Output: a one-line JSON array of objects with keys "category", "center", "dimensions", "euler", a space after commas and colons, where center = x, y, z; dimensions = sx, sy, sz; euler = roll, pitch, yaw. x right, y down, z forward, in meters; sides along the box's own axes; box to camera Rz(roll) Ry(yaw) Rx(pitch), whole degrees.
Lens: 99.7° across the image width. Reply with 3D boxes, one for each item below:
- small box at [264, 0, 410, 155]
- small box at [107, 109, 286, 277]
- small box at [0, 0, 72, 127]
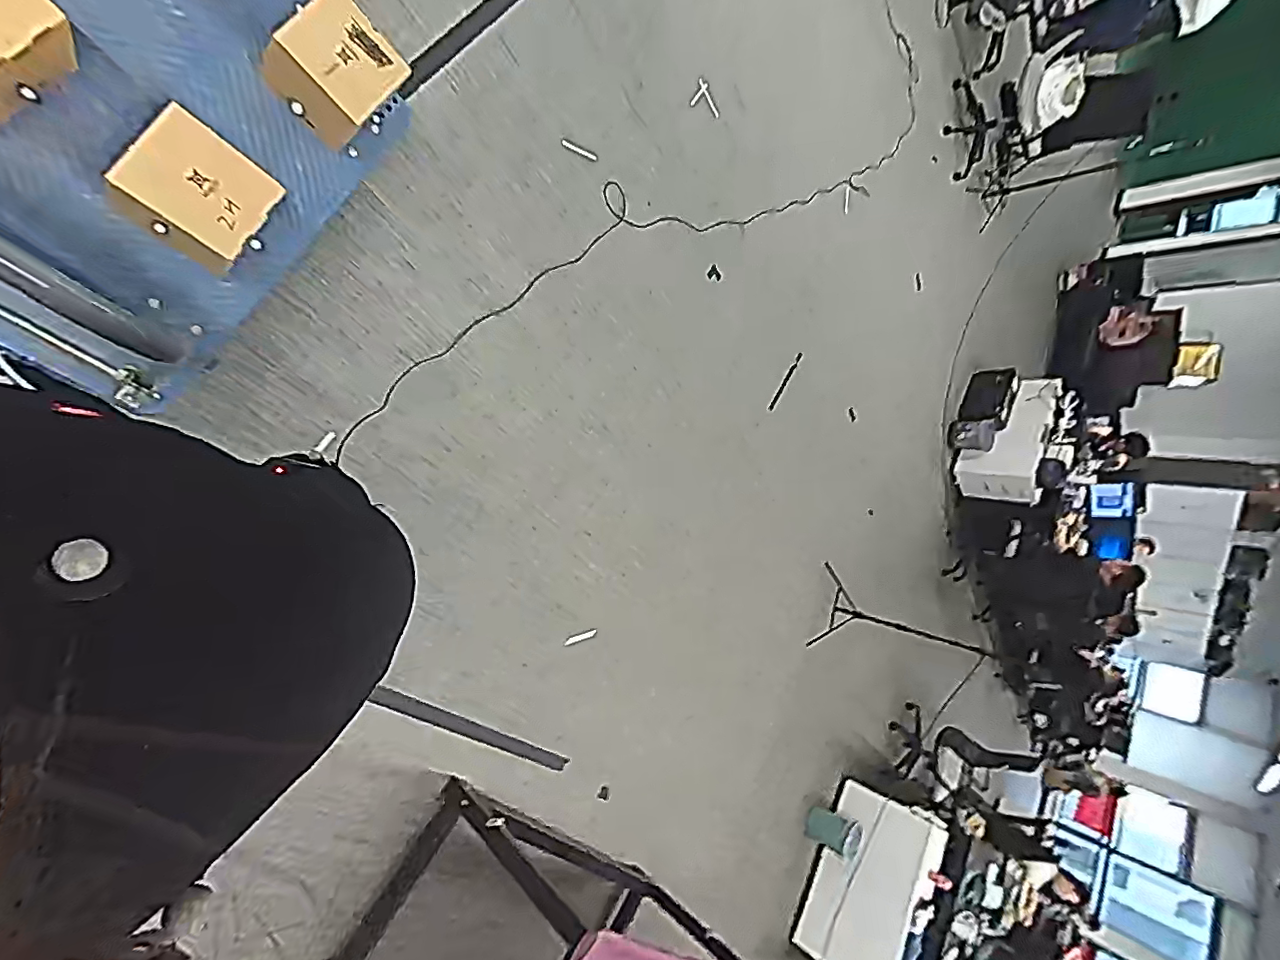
[{"category": "small box", "center": [-0.596, -0.784, 1.057], "dimensions": [0.168, 0.176, 0.179], "euler": [44, 68, -38]}, {"category": "small box", "center": [-0.765, -0.481, 0.938], "dimensions": [0.179, 0.176, 0.168], "euler": [38, 70, -39]}, {"category": "small box", "center": [-0.950, -0.636, 0.744], "dimensions": [0.179, 0.176, 0.168], "euler": [46, 64, -39]}]
